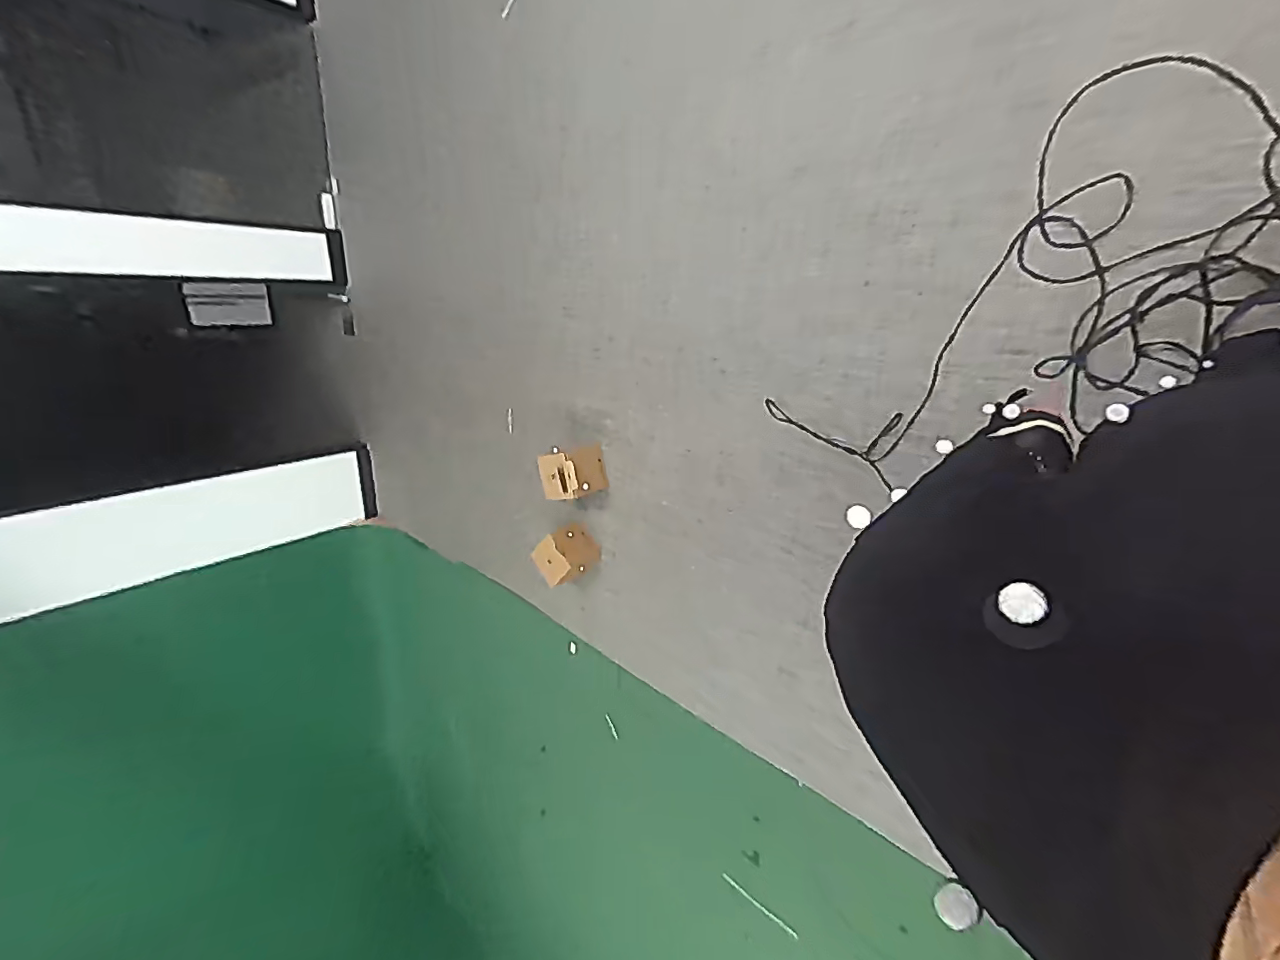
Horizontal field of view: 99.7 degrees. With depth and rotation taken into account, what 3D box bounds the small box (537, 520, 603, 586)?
[{"bbox_3d":[-0.270,0.282,2.127,0.168,0.176,0.179,54,133,16],"label":"small box"}]
